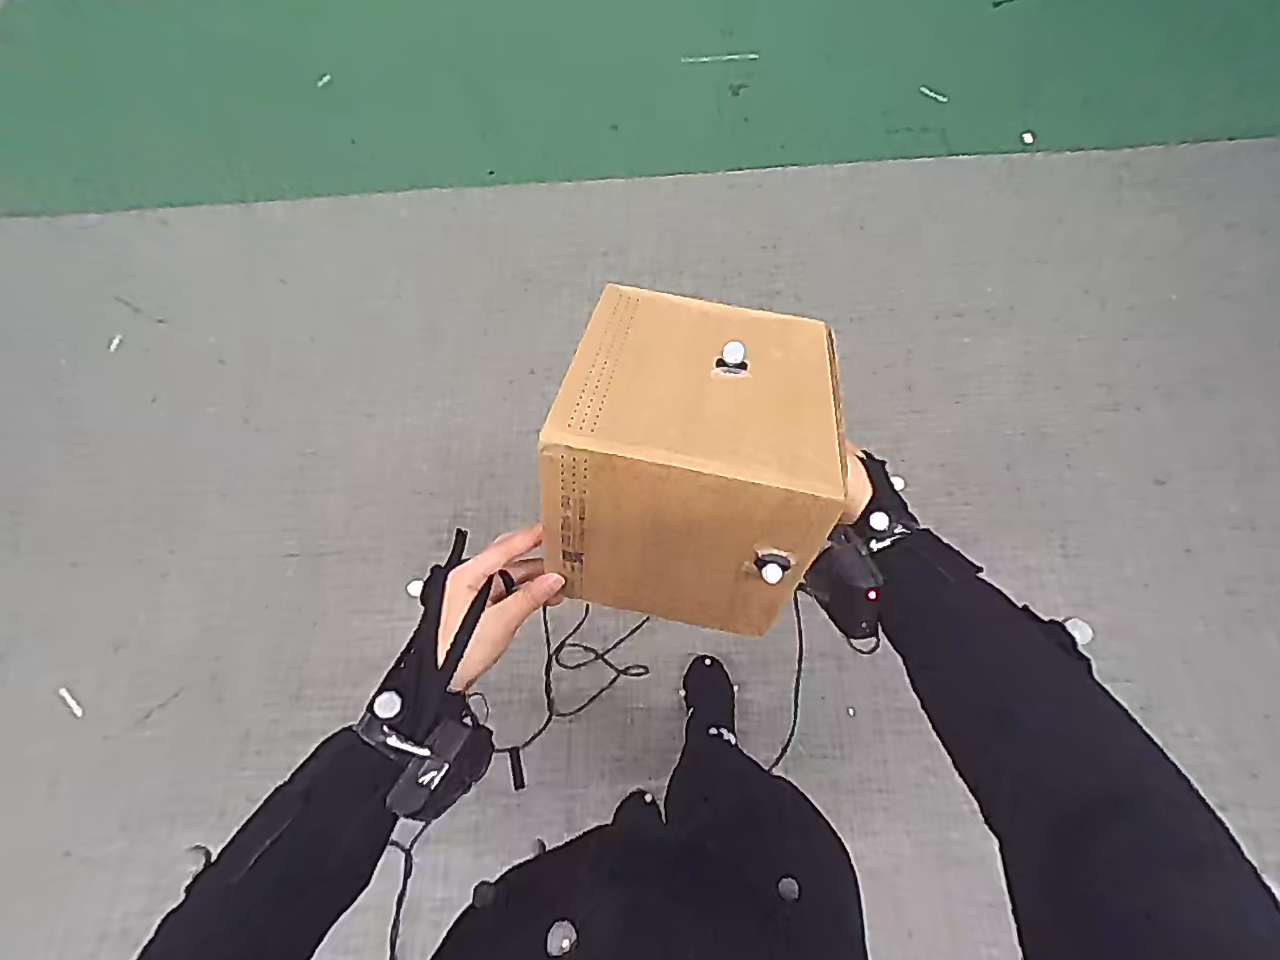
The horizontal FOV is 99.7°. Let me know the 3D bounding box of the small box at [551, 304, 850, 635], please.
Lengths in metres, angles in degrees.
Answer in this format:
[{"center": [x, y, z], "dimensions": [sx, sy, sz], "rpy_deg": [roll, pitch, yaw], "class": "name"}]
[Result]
[{"center": [0.036, -0.012, 0.410], "dimensions": [0.176, 0.168, 0.179], "rpy_deg": [10, 48, 2], "class": "small box"}]
